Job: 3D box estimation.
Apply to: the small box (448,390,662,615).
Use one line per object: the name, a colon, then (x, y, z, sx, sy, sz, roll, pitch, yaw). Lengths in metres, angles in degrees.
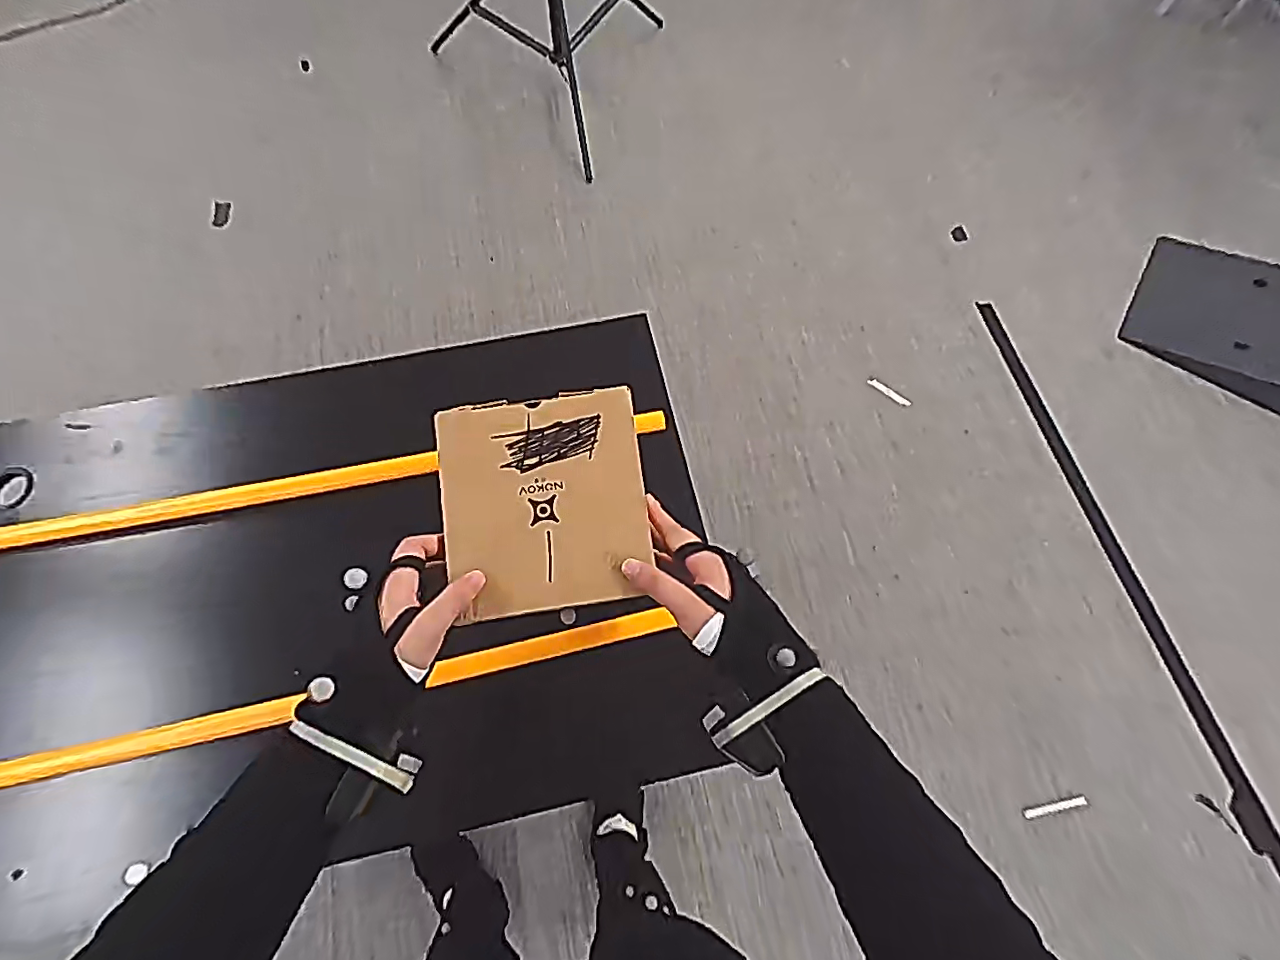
small box: (-0.075, 0.031, 0.528, 0.168, 0.176, 0.179, -8, 79, -2)
